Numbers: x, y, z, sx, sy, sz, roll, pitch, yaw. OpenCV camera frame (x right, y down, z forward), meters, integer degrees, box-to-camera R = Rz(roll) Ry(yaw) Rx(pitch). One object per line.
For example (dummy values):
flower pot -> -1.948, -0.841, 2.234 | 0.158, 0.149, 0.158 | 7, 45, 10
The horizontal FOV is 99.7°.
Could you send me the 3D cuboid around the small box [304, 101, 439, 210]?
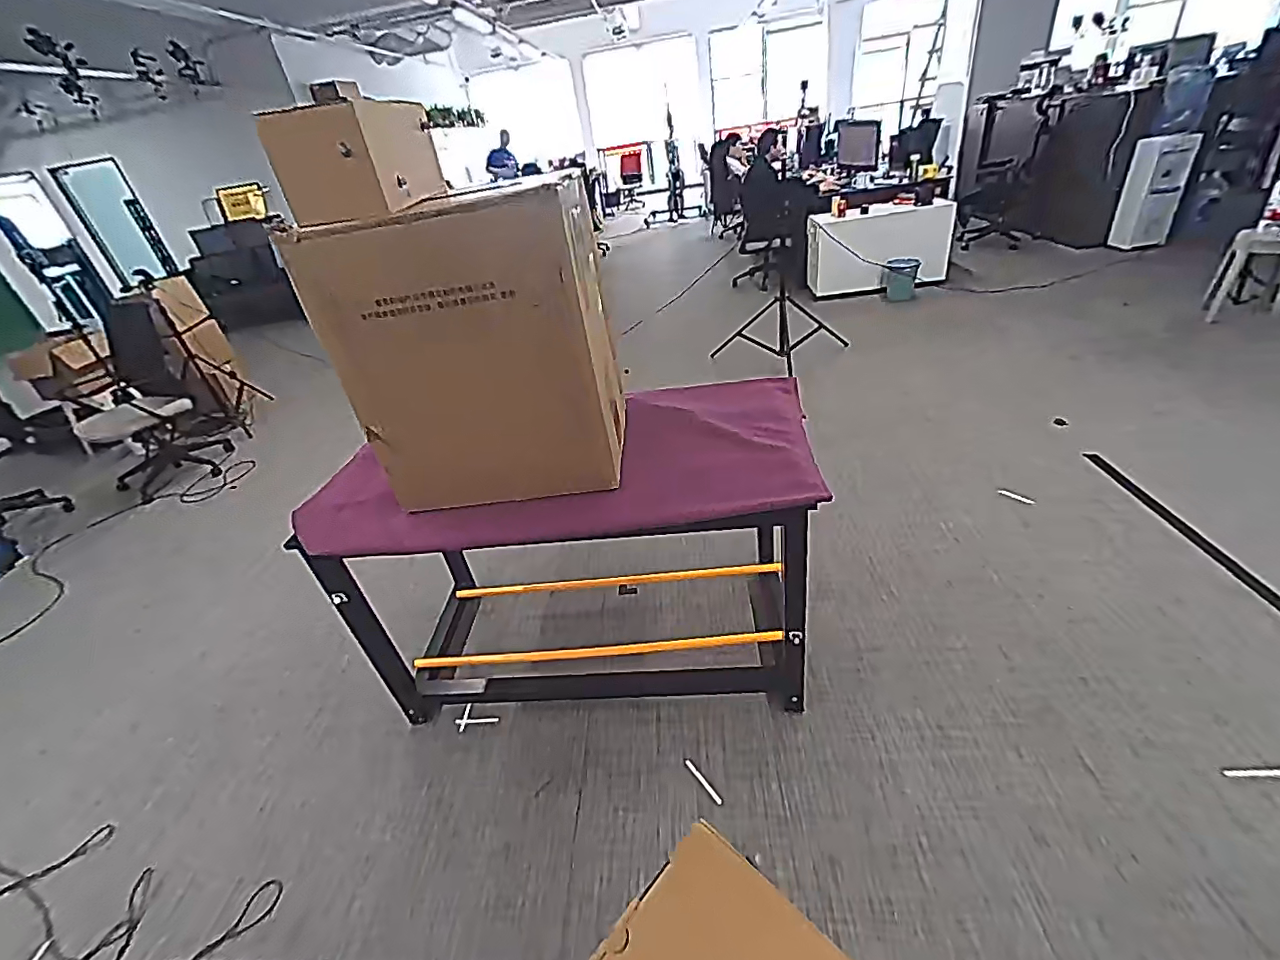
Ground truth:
small box -> -0.535, -0.662, 1.112 | 0.168, 0.176, 0.179 | -6, 33, 5
